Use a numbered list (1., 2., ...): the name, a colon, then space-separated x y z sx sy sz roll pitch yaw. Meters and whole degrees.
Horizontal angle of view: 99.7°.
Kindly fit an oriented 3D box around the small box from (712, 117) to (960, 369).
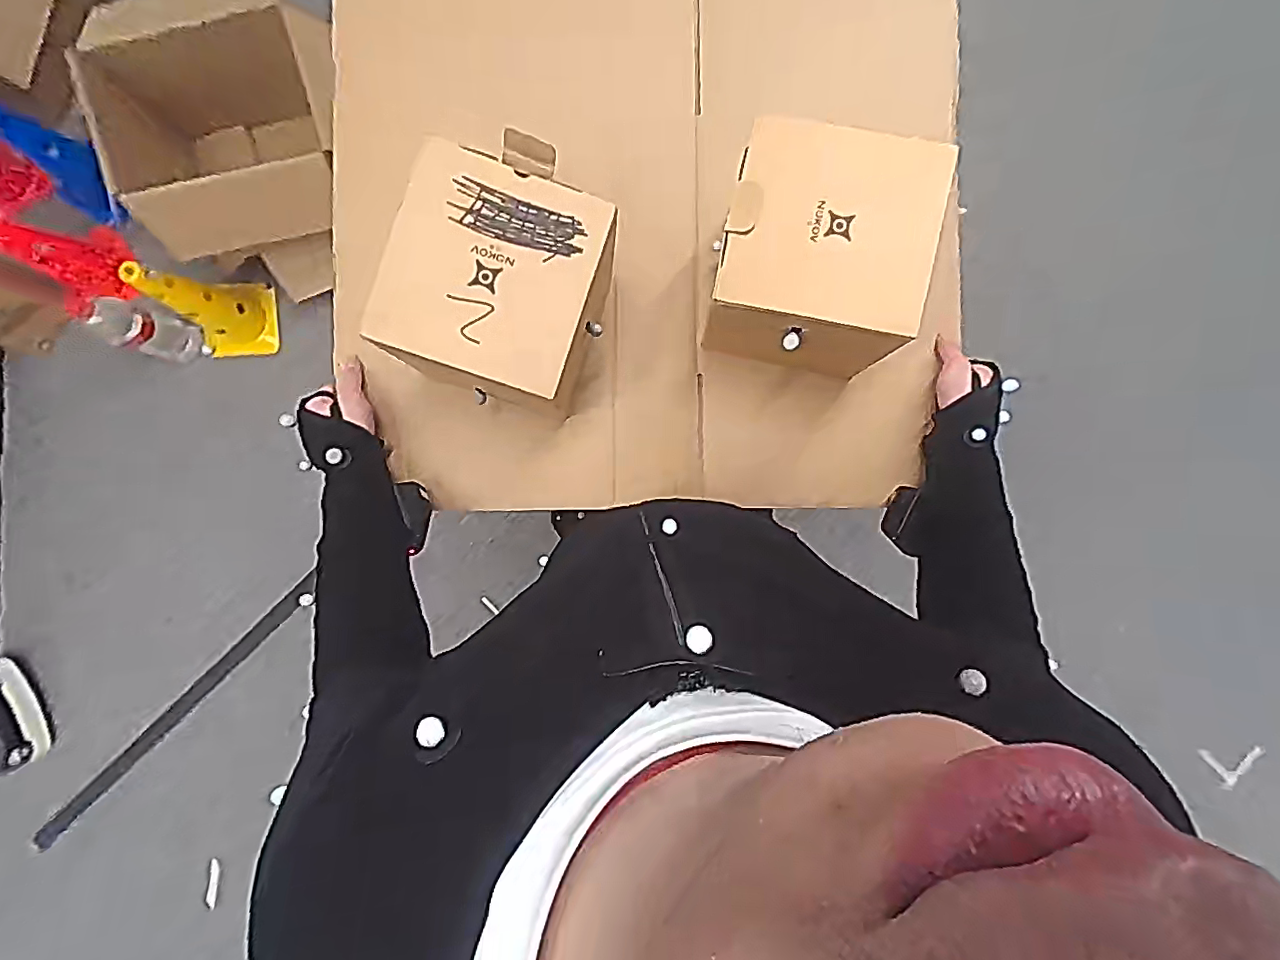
1. small box: 0.178 -0.219 0.547 0.179 0.176 0.168 13 91 4
